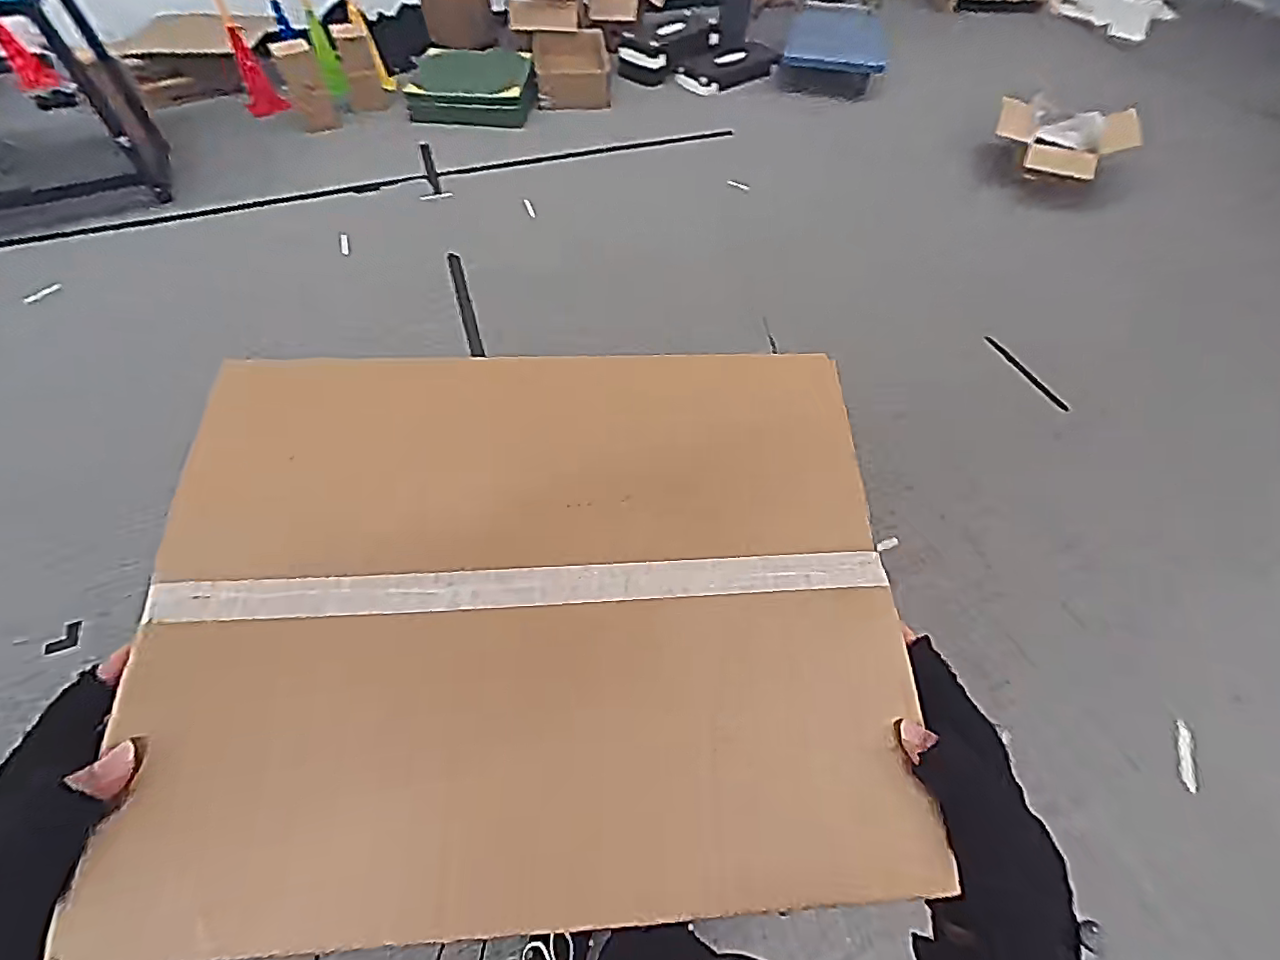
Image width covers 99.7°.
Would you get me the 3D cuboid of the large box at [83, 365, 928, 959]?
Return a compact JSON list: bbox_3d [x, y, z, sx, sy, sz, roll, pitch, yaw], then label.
[{"bbox_3d":[-0.069,0.128,0.447,0.408,0.320,0.320,-3,66,-4],"label":"large box"}]
